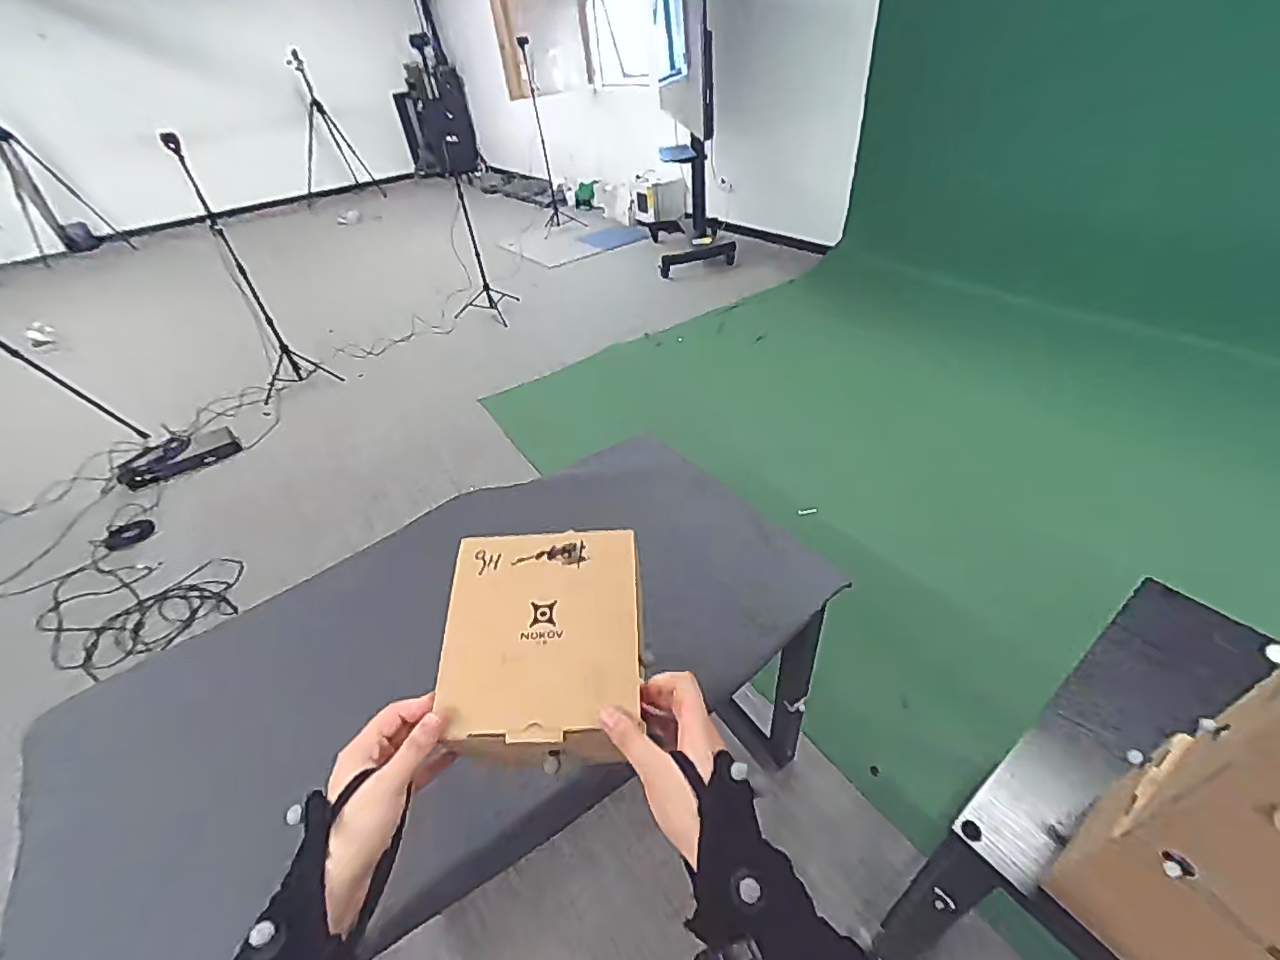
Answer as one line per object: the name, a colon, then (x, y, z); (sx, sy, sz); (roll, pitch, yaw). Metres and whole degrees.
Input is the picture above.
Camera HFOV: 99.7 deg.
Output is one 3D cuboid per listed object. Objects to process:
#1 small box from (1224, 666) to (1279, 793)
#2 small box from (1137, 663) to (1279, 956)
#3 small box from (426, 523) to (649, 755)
small box: (0.531, 0.152, 0.317); (0.168, 0.176, 0.179); (-25, 44, -23)
small box: (0.552, 0.271, 0.426); (0.179, 0.176, 0.168); (-26, 45, -22)
small box: (-0.081, 0.159, 0.514); (0.168, 0.176, 0.179); (-4, 58, 1)
